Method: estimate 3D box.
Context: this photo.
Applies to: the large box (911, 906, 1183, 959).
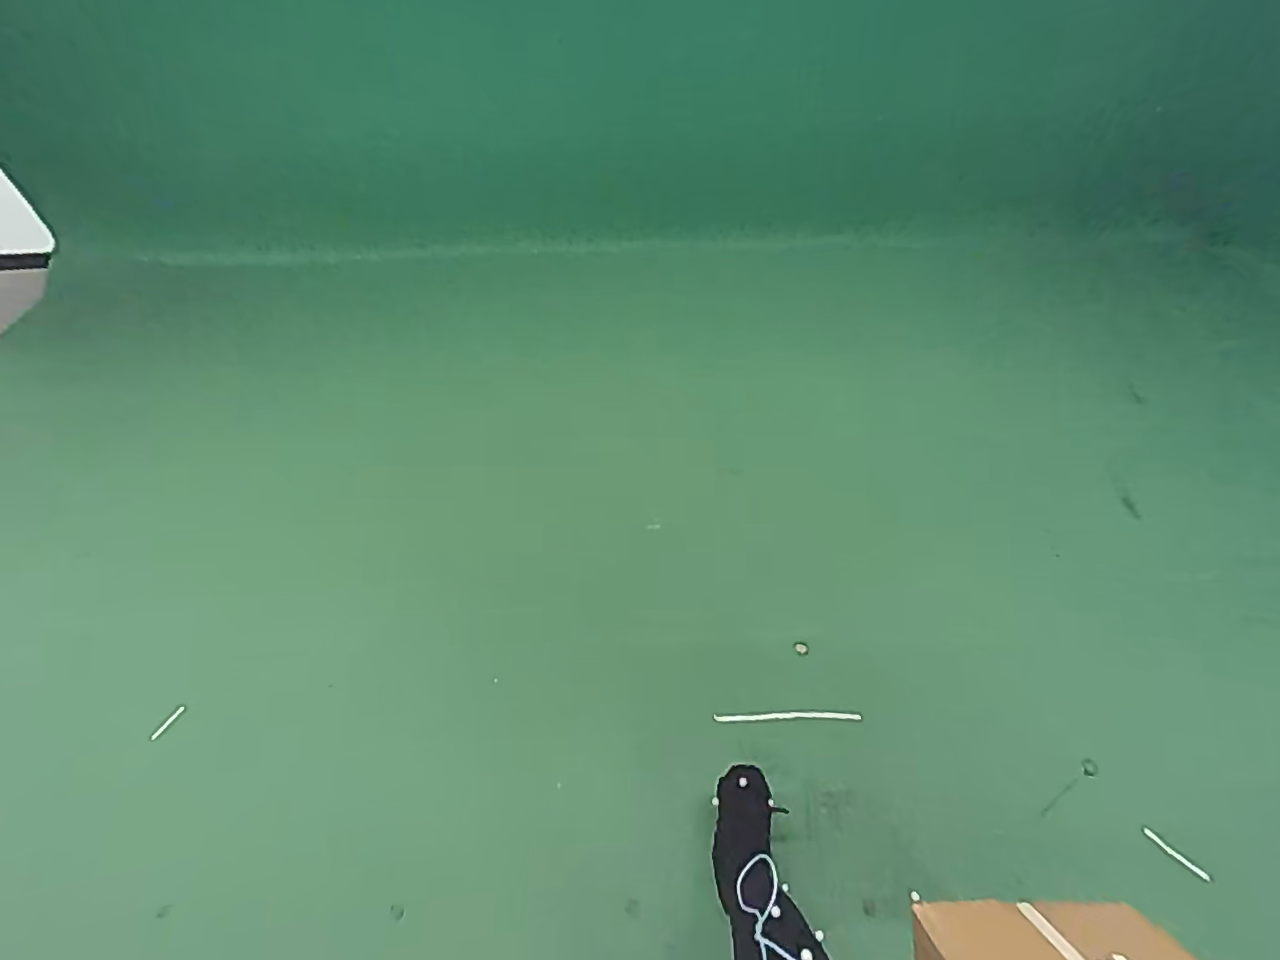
[{"bbox_3d":[0.551,0.762,0.582,0.320,0.408,0.320,-1,84,2],"label":"large box"}]
